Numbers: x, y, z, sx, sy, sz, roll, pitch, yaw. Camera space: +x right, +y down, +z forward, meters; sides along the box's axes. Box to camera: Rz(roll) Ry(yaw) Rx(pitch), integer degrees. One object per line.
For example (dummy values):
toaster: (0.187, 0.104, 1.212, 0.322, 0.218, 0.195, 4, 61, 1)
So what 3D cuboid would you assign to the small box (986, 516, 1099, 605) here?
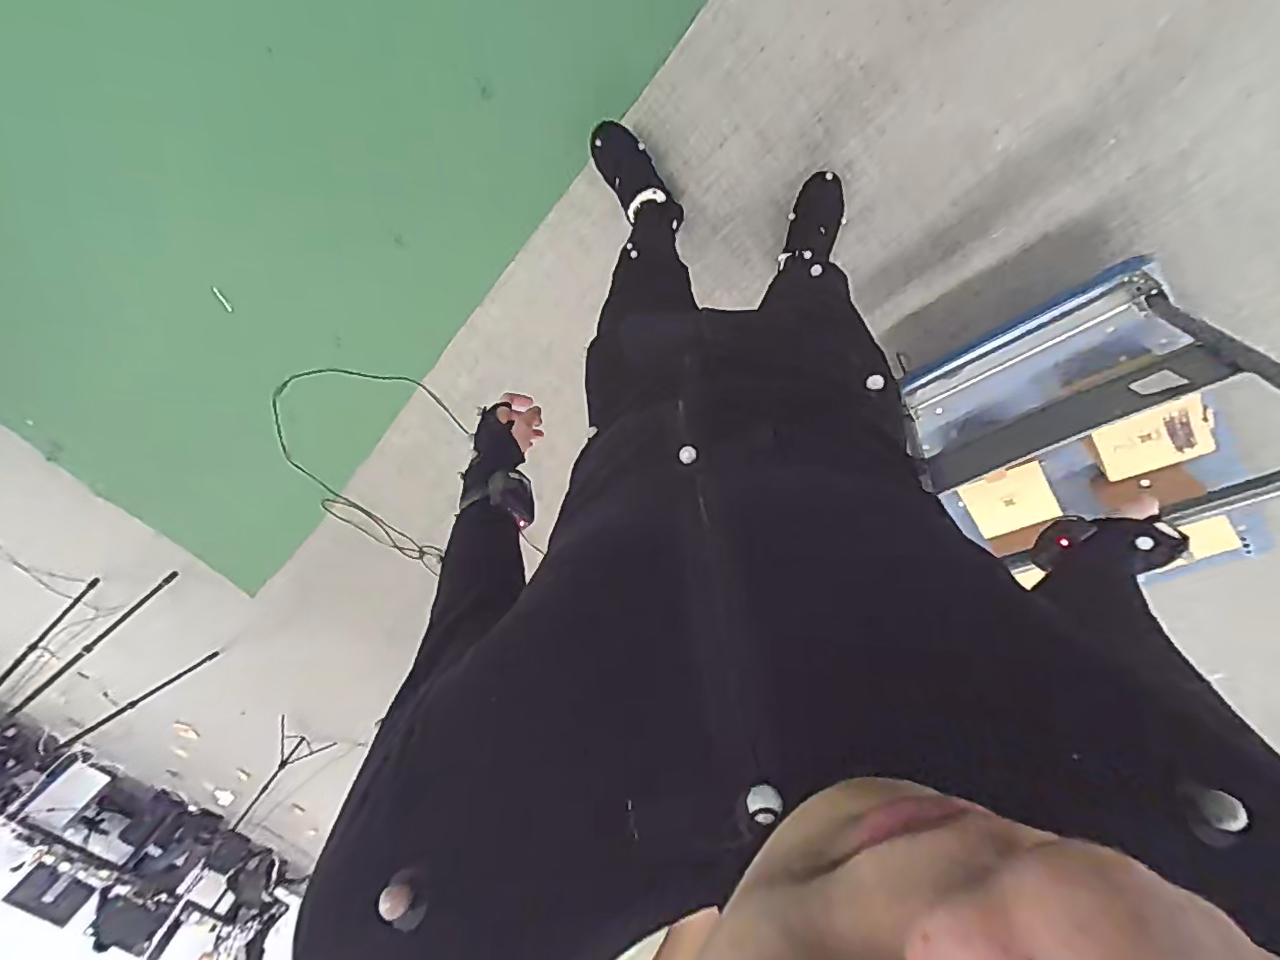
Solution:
small box: (1.013, 0.183, 1.381, 0.168, 0.176, 0.179, -32, 110, 32)

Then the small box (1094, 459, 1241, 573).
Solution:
small box: (1.200, 0.075, 1.246, 0.168, 0.176, 0.179, -33, 110, 34)

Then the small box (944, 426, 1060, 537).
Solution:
small box: (0.863, 0.002, 1.300, 0.168, 0.176, 0.179, -28, 112, 31)
